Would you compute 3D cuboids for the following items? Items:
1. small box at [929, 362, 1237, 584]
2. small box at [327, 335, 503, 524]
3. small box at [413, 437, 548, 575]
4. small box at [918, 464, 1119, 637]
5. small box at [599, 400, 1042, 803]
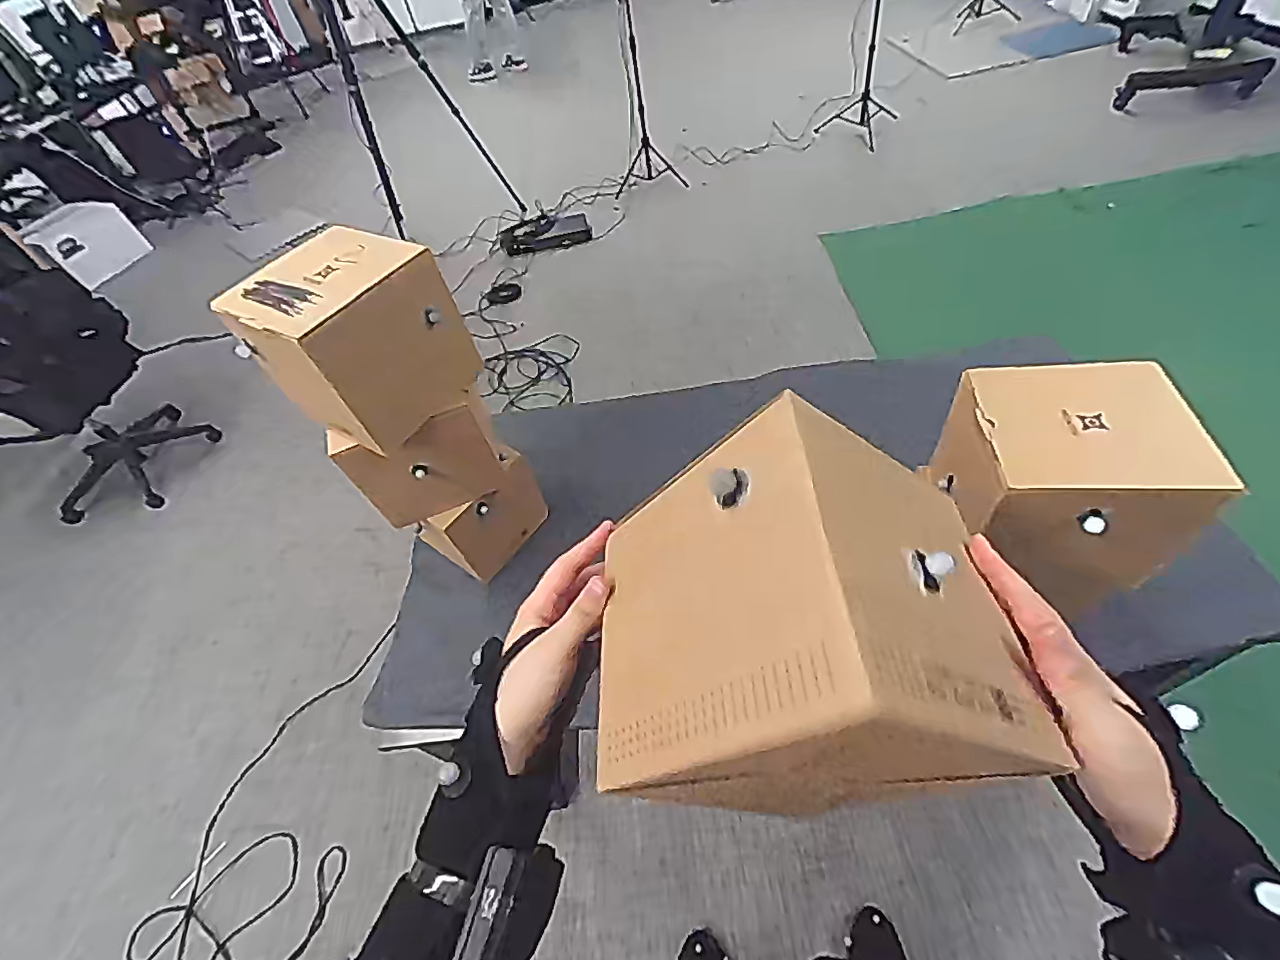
[{"bbox_3d":[0.428,-0.003,0.566,0.179,0.176,0.168,0,51,13],"label":"small box"},{"bbox_3d":[-0.310,-0.068,0.768,0.179,0.176,0.168,-23,52,-7],"label":"small box"},{"bbox_3d":[-0.284,0.029,0.899,0.179,0.176,0.168,26,61,28],"label":"small box"},{"bbox_3d":[0.455,0.088,0.699,0.168,0.176,0.179,-9,50,6],"label":"small box"},{"bbox_3d":[0.089,0.090,0.324,0.179,0.168,0.176,-39,41,41],"label":"small box"}]
